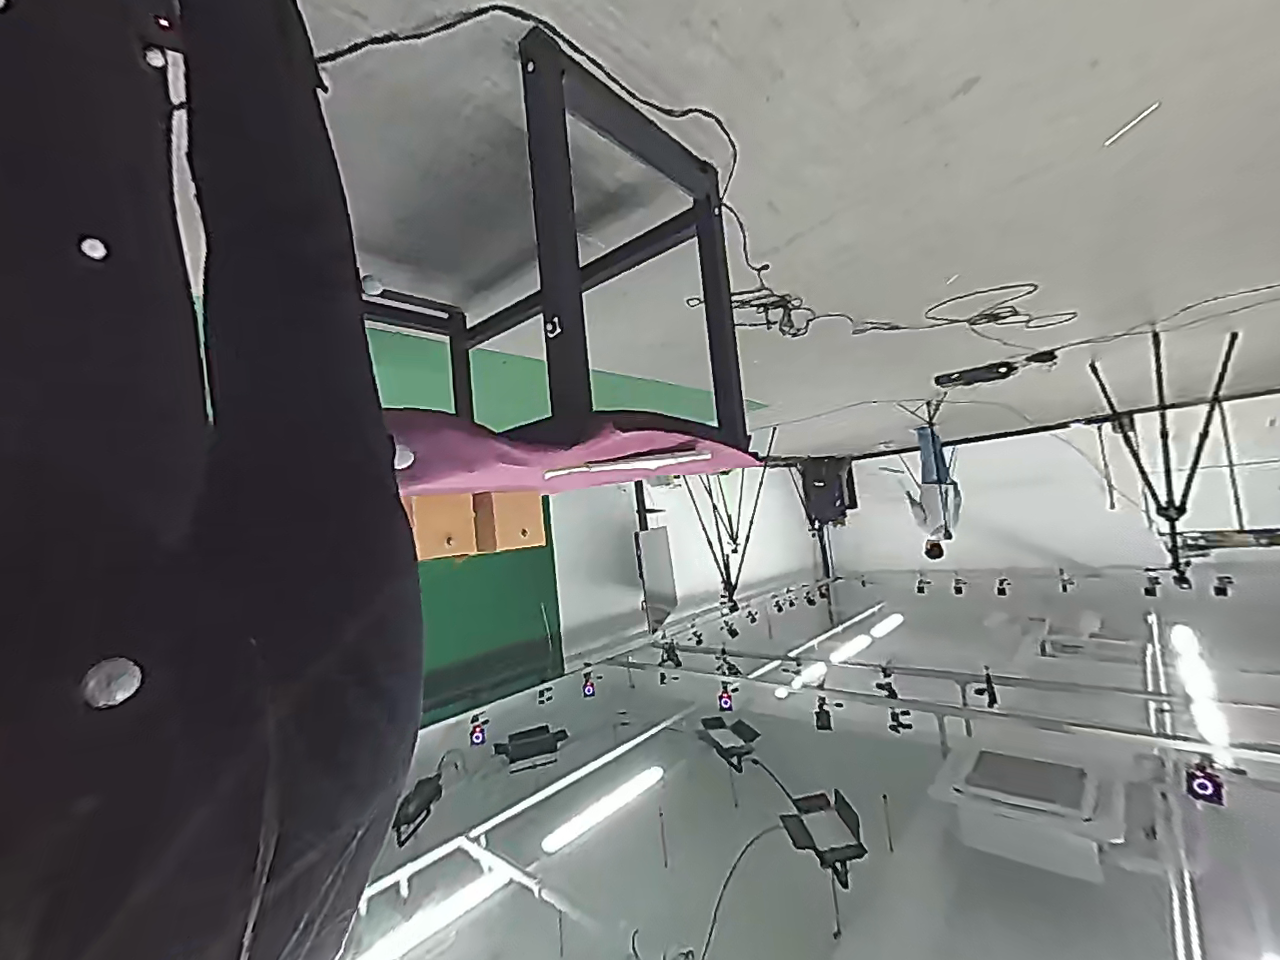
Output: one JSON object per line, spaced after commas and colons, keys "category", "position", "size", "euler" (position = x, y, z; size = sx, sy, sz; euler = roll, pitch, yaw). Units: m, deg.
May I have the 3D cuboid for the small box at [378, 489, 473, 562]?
{"category": "small box", "position": [-0.569, 0.118, 1.425], "size": [0.168, 0.176, 0.179], "euler": [-9, 174, 36]}

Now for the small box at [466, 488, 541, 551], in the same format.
{"category": "small box", "position": [-0.413, 0.114, 1.586], "size": [0.168, 0.176, 0.179], "euler": [-9, 174, 38]}
